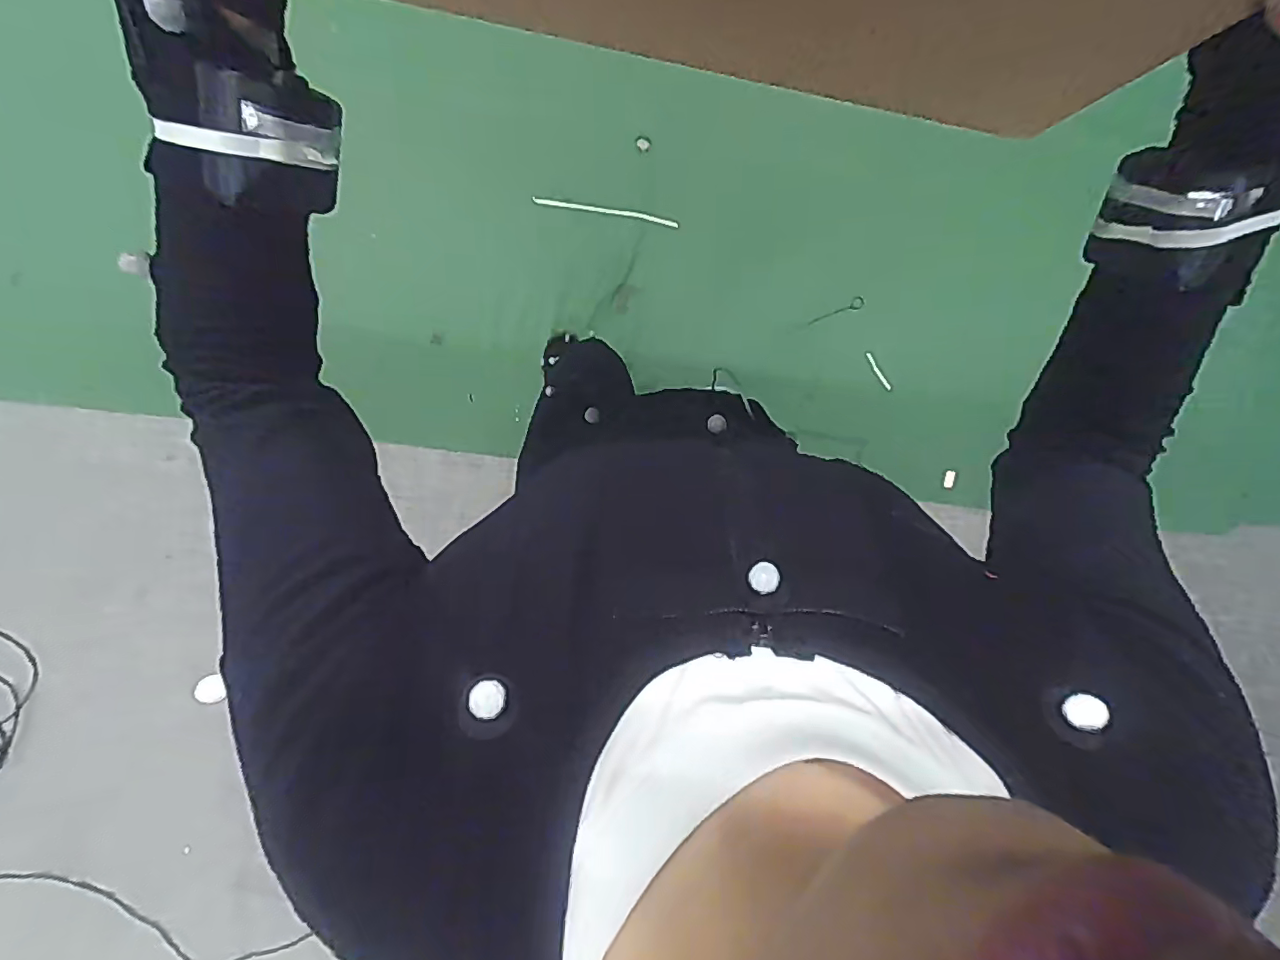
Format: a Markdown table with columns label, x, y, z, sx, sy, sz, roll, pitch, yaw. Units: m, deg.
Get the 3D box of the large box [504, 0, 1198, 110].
| label | x | y | z | sx | sy | sz | roll | pitch | yaw |
| --- | --- | --- | --- | --- | --- | --- | --- | --- | --- |
| large box | 0.068 | -0.358 | 0.126 | 0.408 | 0.320 | 0.320 | 7 | 99 | -8 |
